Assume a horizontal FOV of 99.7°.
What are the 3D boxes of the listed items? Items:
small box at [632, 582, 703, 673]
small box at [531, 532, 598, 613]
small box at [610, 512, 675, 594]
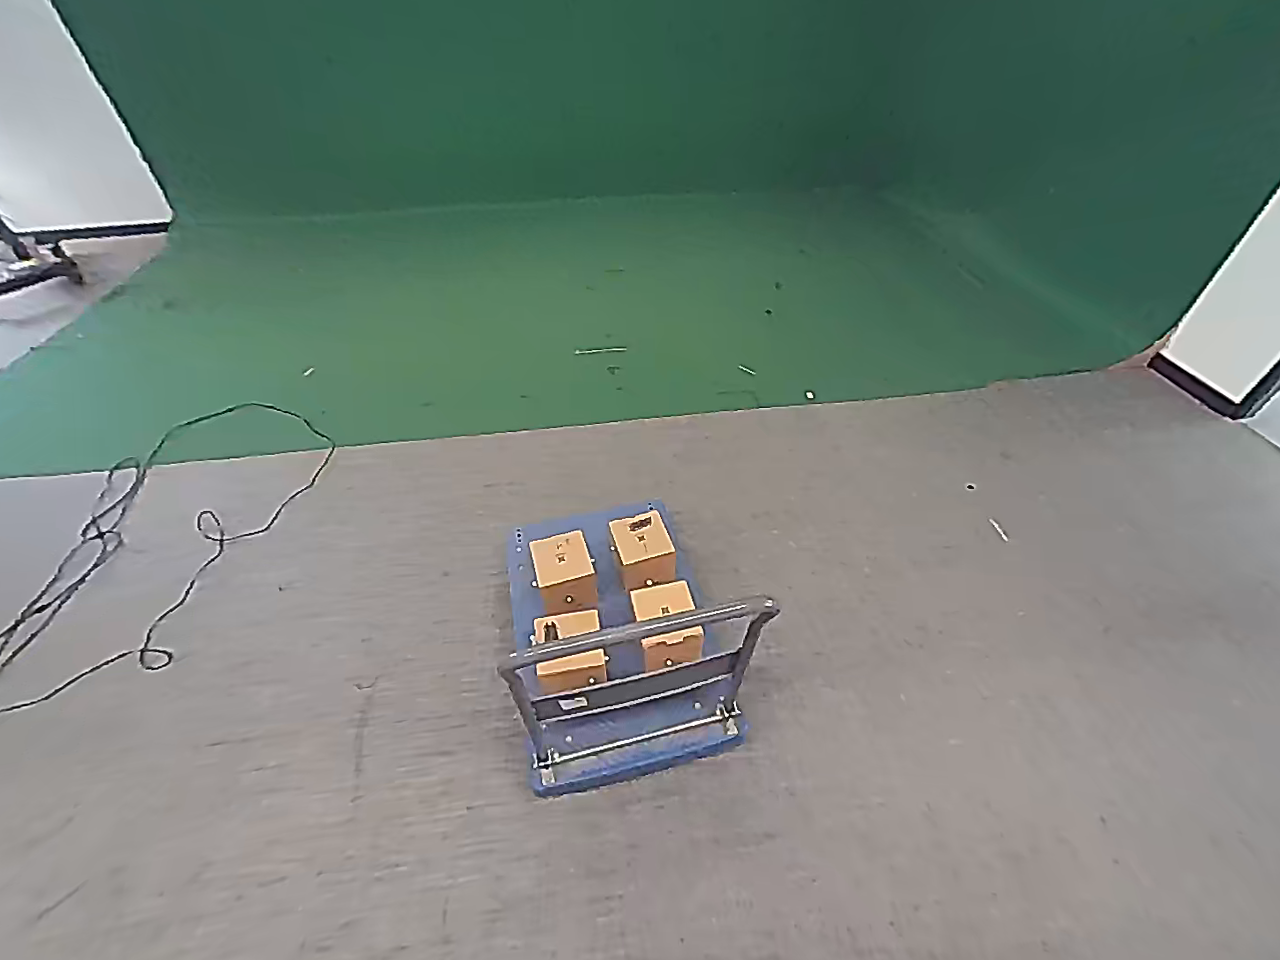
[{"bbox_3d":[0.073,0.423,1.552,0.168,0.176,0.179,-10,46,-9],"label":"small box"},{"bbox_3d":[-0.233,0.296,1.685,0.168,0.176,0.179,-13,46,-12],"label":"small box"},{"bbox_3d":[0.006,0.236,1.736,0.168,0.176,0.179,-14,47,-11],"label":"small box"}]
